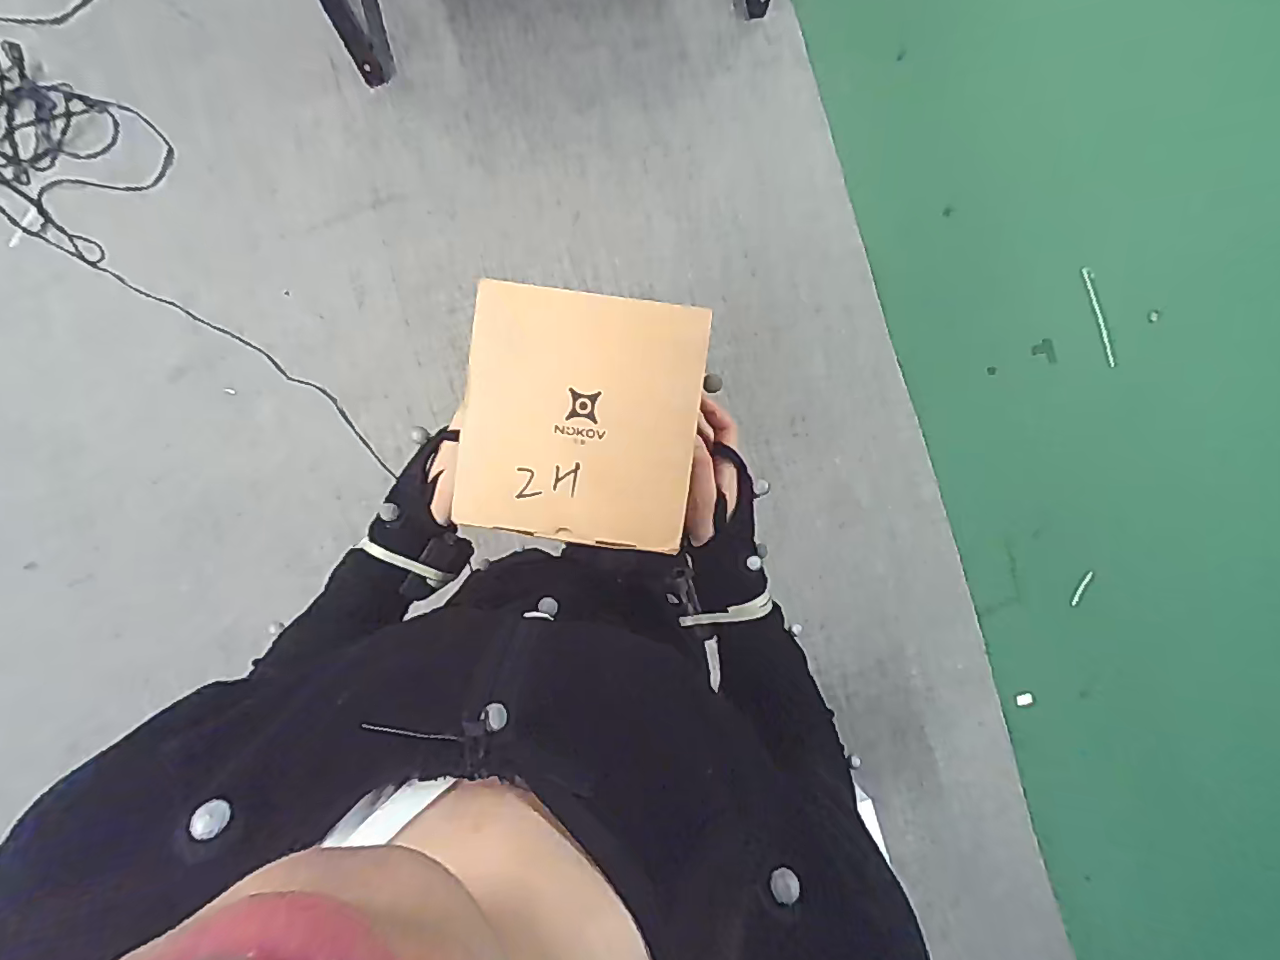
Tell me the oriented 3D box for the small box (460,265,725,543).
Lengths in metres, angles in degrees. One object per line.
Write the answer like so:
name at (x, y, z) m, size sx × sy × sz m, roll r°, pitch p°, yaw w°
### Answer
small box at (-0.034, -0.054, 0.455) m, size 0.168 × 0.176 × 0.179 m, roll 8°, pitch 92°, yaw 0°
